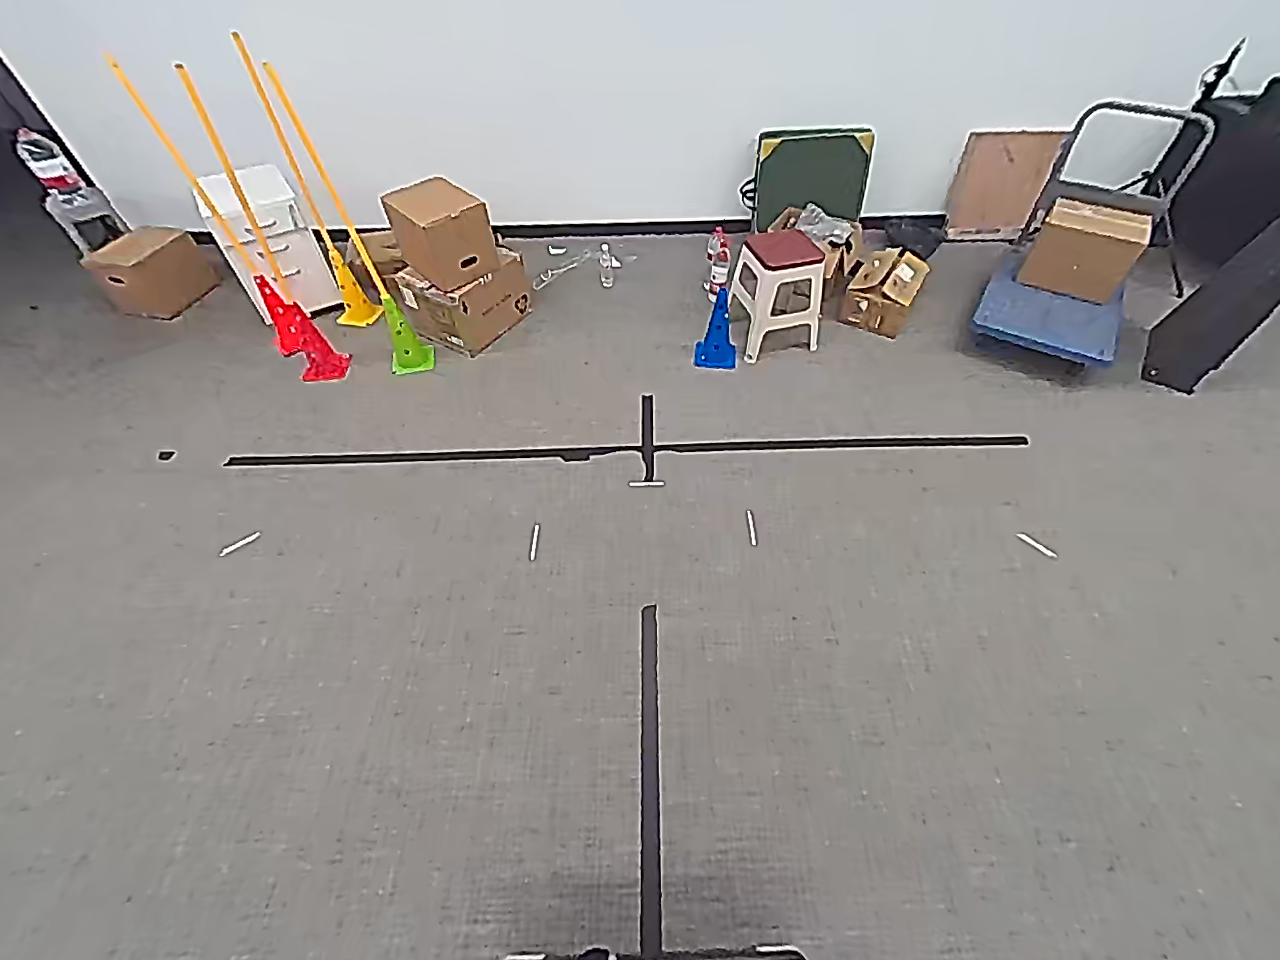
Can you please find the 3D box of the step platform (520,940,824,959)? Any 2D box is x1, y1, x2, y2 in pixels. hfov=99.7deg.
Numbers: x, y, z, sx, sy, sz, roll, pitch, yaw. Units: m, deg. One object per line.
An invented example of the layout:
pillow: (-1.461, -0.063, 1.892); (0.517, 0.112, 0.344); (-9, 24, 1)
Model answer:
step platform: (0.063, 1.130, 1.089); (0.684, 0.204, 0.286); (-2, 50, -2)
